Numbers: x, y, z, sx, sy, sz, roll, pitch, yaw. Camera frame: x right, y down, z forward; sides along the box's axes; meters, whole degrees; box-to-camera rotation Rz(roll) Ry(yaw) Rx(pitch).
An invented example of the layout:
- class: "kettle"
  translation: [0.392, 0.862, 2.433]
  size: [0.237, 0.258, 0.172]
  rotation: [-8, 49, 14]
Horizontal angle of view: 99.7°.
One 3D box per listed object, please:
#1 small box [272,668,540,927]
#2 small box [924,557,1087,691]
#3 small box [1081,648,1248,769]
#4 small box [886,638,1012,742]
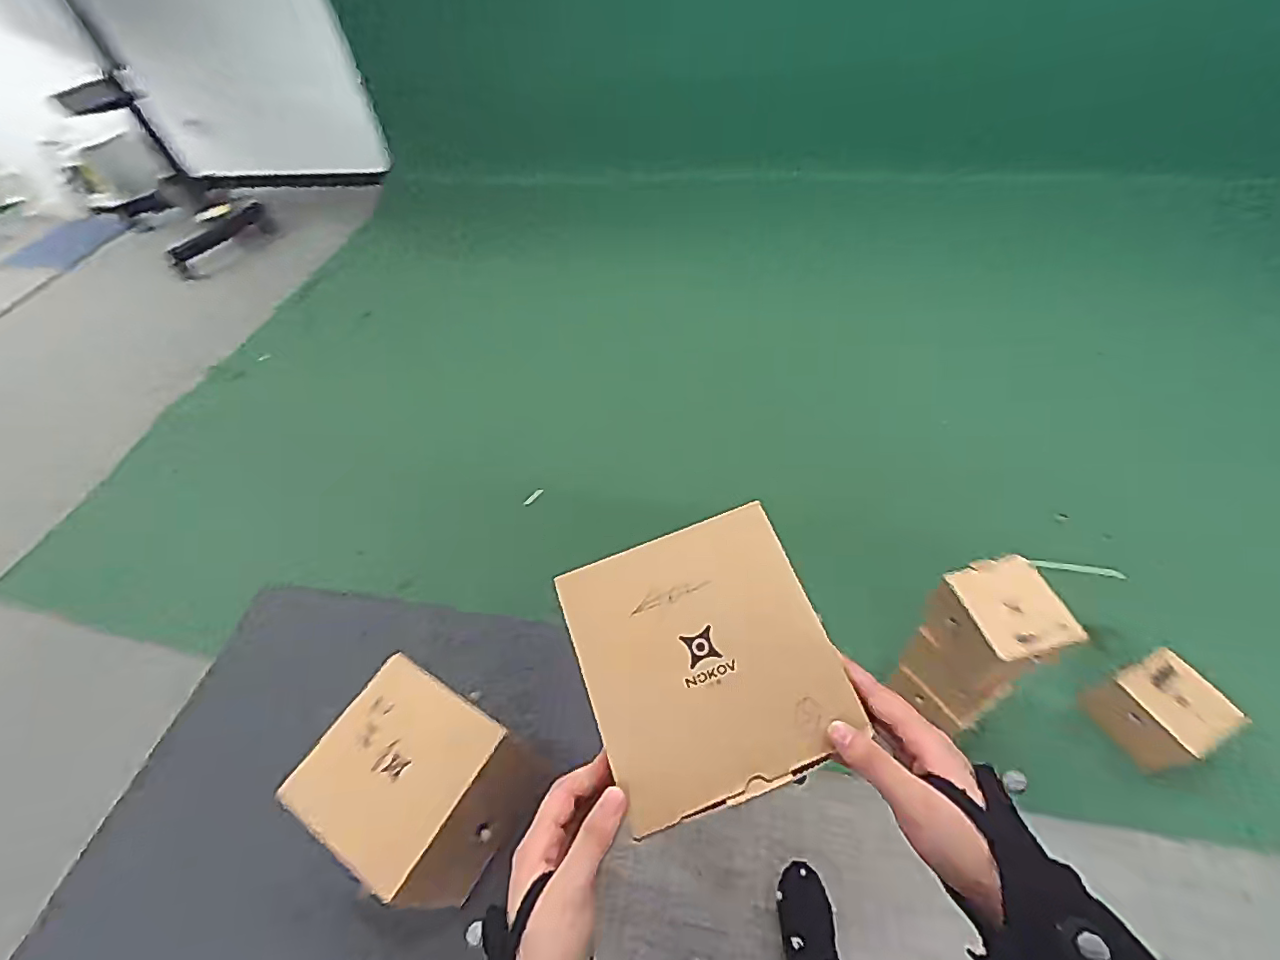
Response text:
- class: "small box"
  translation: [-0.237, 0.344, 0.595]
  size: [0.179, 0.176, 0.168]
  rotation: [21, 57, 25]
- class: "small box"
  translation: [0.690, 0.282, 1.051]
  size: [0.168, 0.176, 0.179]
  rotation: [-15, 51, -4]
- class: "small box"
  translation: [1.167, 0.520, 1.222]
  size: [0.168, 0.176, 0.179]
  rotation: [-25, 54, -12]
- class: "small box"
  translation: [0.727, 0.500, 1.295]
  size: [0.168, 0.176, 0.179]
  rotation: [-30, 54, -16]
